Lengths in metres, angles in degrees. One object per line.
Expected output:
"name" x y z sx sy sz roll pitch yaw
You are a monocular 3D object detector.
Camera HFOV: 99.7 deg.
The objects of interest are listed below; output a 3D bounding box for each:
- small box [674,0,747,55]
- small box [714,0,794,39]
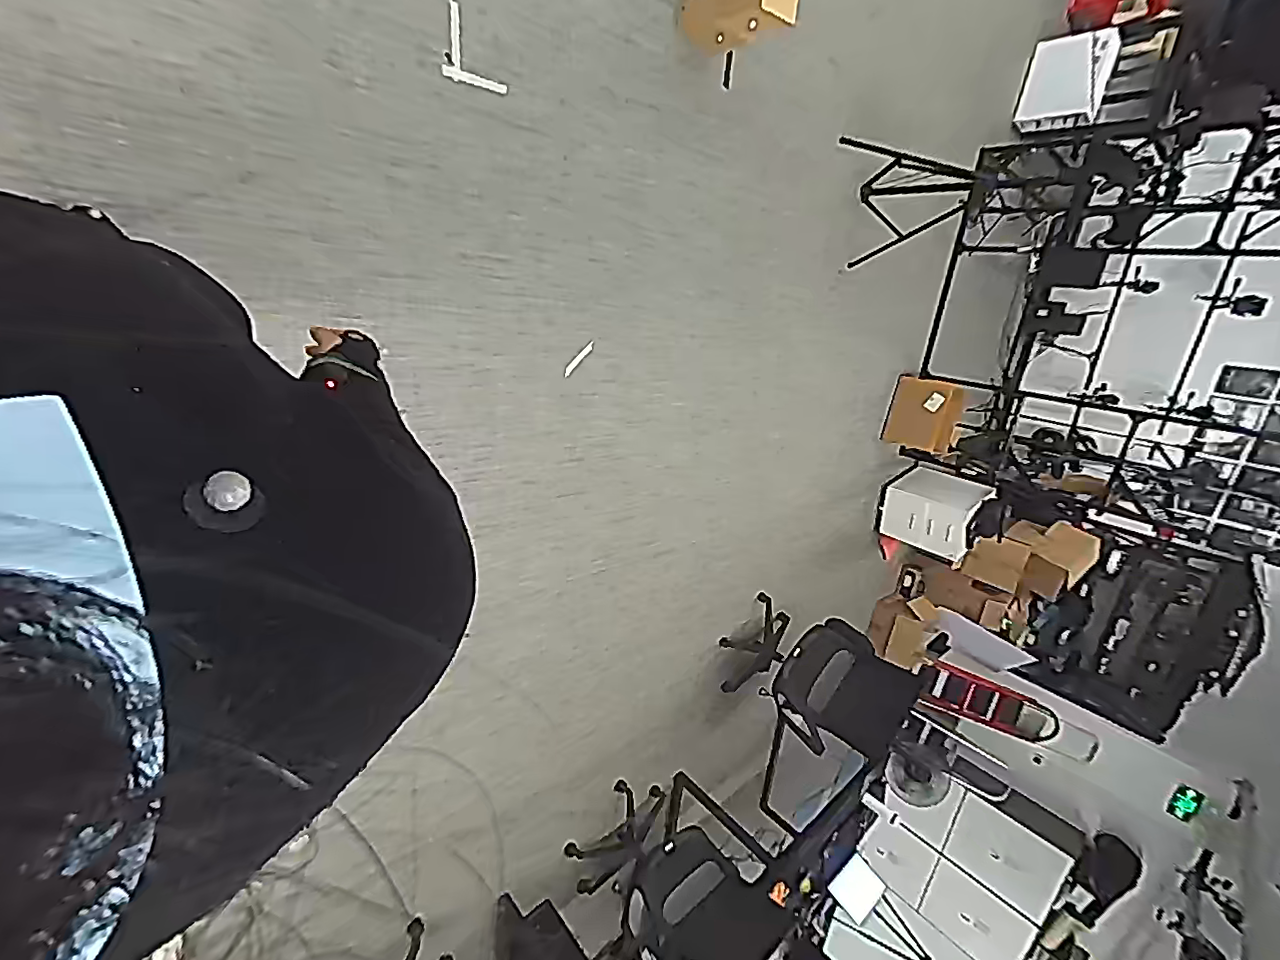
"small box" 0.229 -1.465 1.683 0.179 0.176 0.168 -7 113 -43
"small box" 0.331 -1.420 1.564 0.168 0.176 0.179 -17 118 -39
